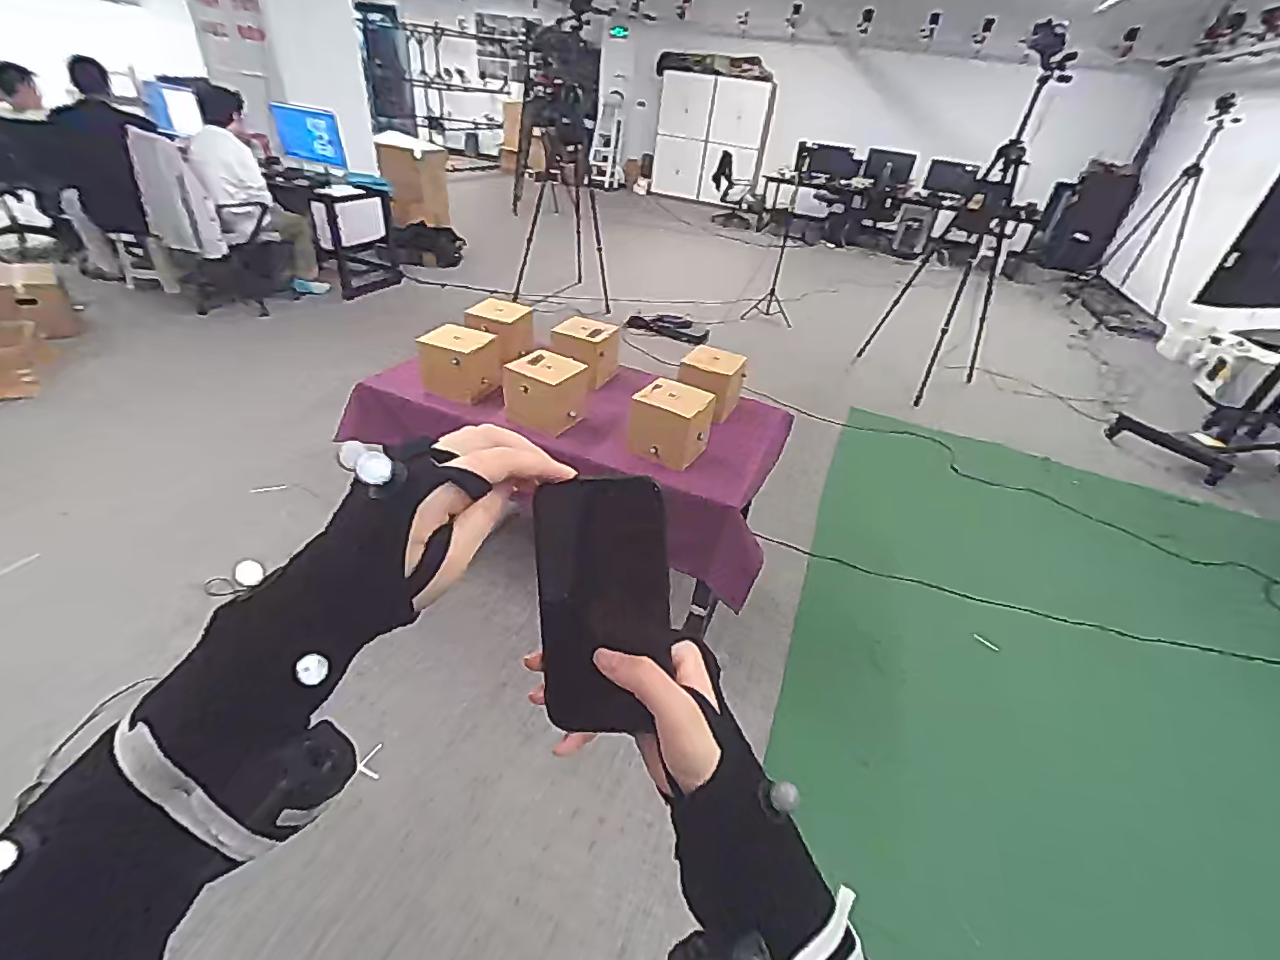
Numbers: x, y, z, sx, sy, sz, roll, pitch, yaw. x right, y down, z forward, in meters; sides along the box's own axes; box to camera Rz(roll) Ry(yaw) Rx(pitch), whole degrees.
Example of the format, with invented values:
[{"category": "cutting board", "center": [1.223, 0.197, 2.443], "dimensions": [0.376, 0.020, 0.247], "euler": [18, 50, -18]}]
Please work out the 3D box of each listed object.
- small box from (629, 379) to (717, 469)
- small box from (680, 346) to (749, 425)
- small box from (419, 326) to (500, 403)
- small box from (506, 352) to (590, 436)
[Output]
[{"category": "small box", "center": [0.086, -0.149, 1.479], "dimensions": [0.179, 0.176, 0.168], "euler": [24, 38, 21]}, {"category": "small box", "center": [0.226, -0.301, 1.716], "dimensions": [0.168, 0.176, 0.179], "euler": [21, 38, 19]}, {"category": "small box", "center": [-0.544, -0.350, 1.648], "dimensions": [0.179, 0.176, 0.168], "euler": [16, 36, 10]}, {"category": "small box", "center": [-0.264, -0.247, 1.552], "dimensions": [0.179, 0.176, 0.168], "euler": [23, 38, 20]}]
